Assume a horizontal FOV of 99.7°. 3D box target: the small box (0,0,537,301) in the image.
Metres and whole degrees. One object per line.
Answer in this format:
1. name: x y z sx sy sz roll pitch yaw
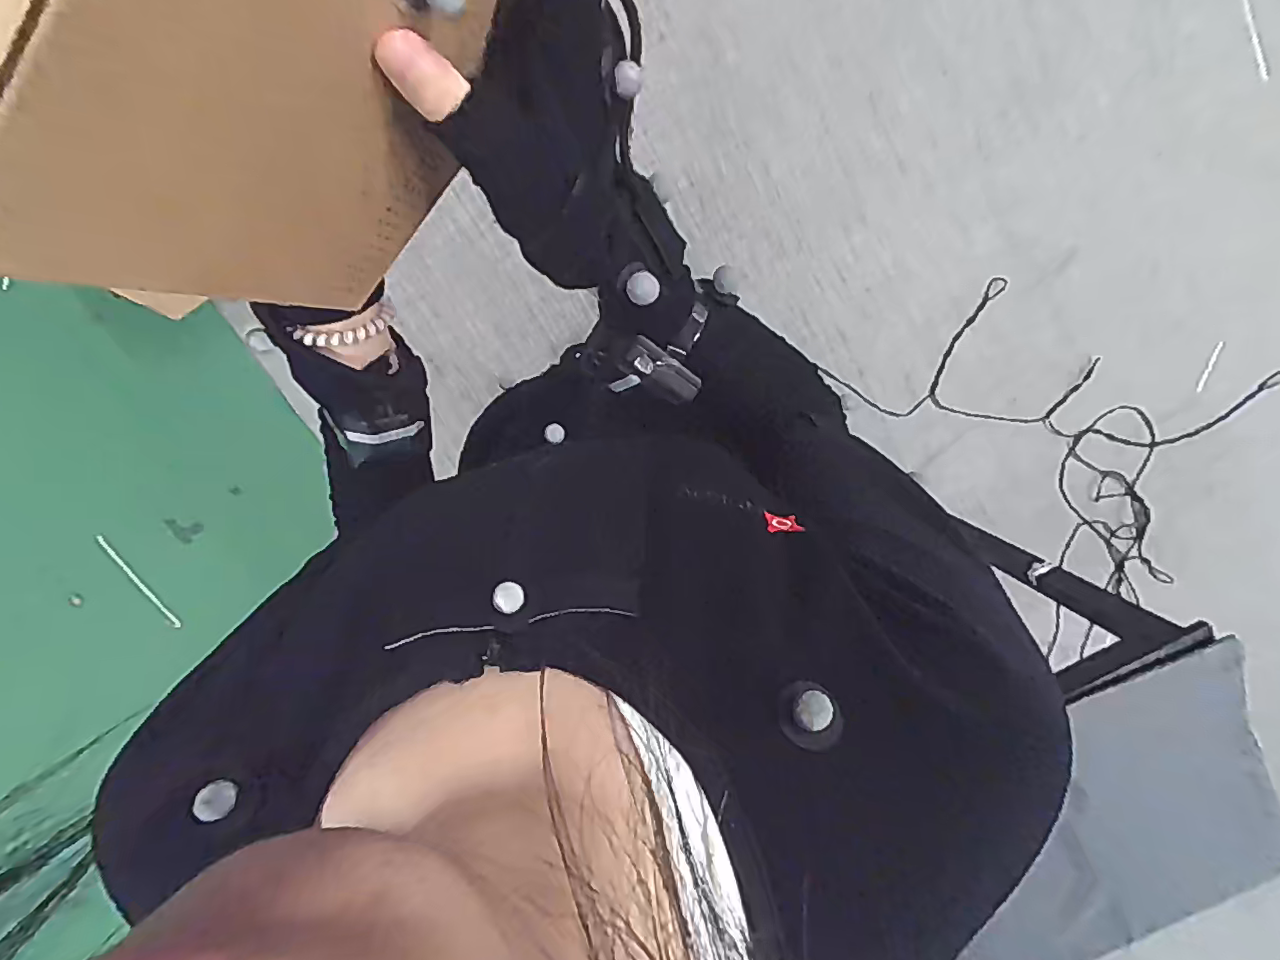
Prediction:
1. small box: -0.155 -0.185 0.182 0.168 0.176 0.179 44 104 -5
